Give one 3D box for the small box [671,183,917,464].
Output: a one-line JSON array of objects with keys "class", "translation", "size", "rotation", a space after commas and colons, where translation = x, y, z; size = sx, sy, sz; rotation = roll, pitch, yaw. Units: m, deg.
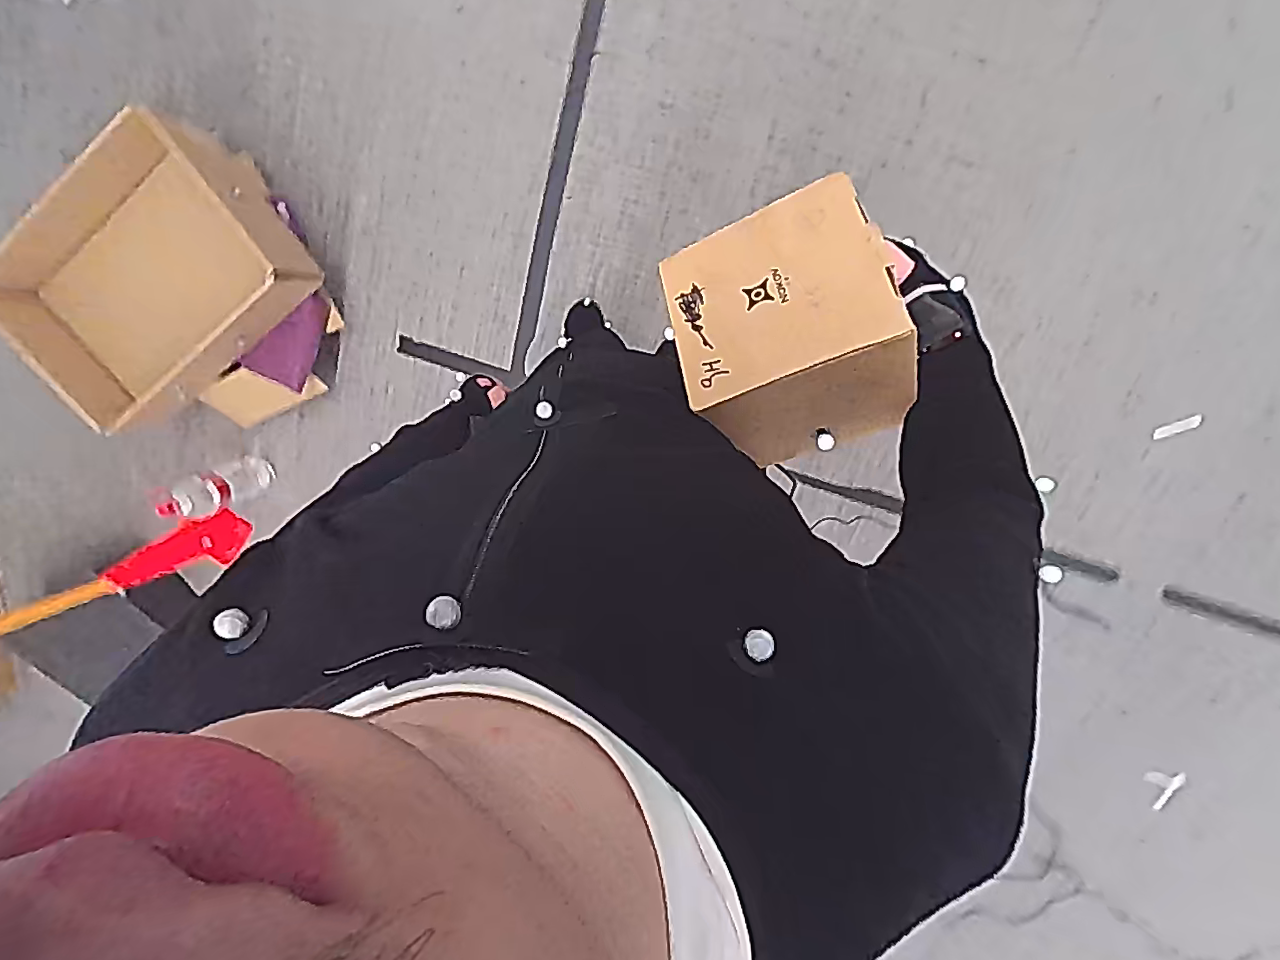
[{"class": "small box", "translation": [0.150, -0.133, 0.528], "size": [0.179, 0.176, 0.168], "rotation": [-17, 66, 21]}]
